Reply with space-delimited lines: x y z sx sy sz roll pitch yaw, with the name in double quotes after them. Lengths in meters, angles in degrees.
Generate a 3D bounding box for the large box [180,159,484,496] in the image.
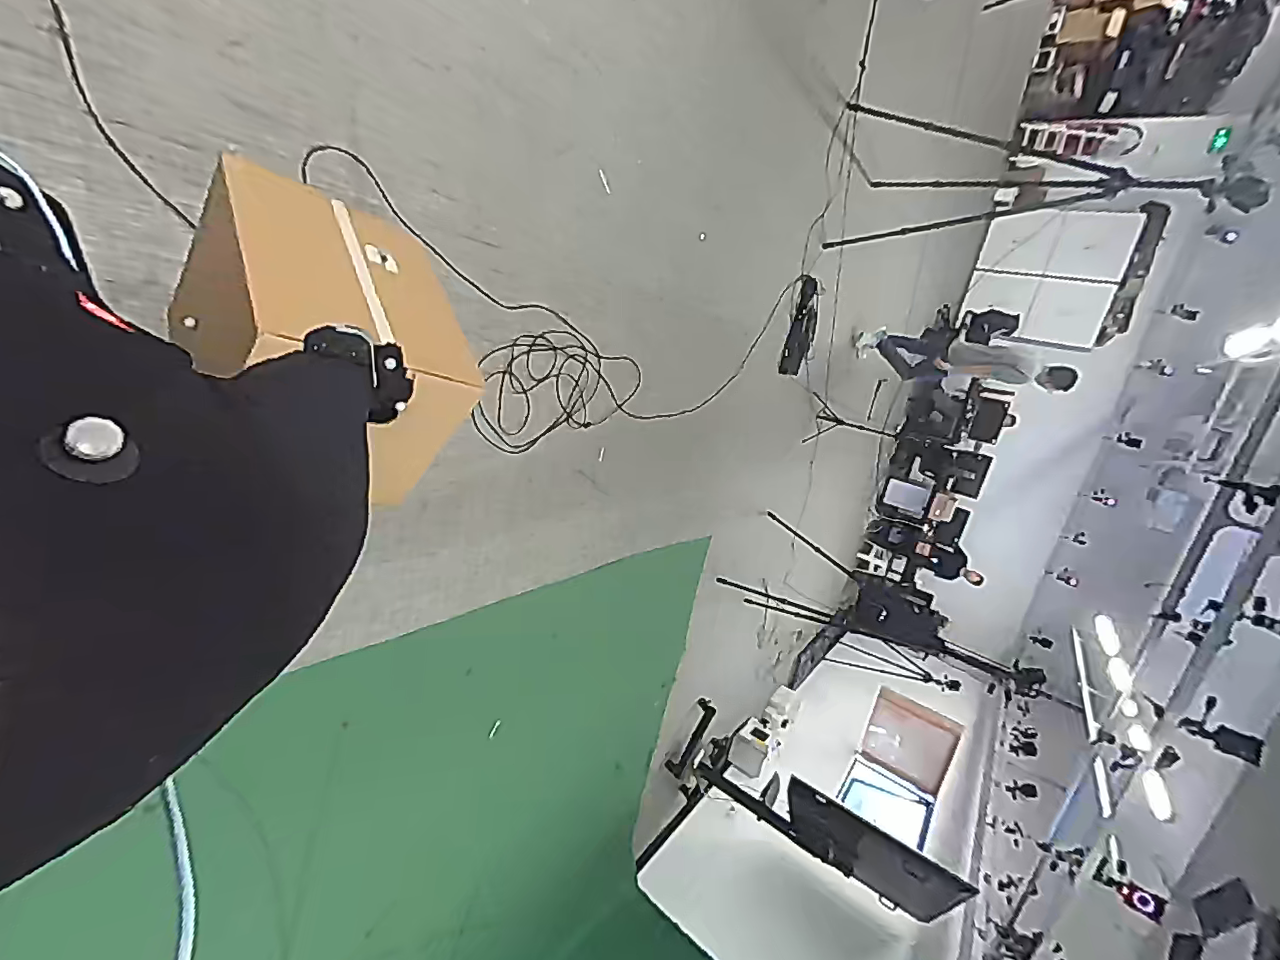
-0.526 -0.220 0.902 0.320 0.408 0.320 -44 151 27 "large box"
